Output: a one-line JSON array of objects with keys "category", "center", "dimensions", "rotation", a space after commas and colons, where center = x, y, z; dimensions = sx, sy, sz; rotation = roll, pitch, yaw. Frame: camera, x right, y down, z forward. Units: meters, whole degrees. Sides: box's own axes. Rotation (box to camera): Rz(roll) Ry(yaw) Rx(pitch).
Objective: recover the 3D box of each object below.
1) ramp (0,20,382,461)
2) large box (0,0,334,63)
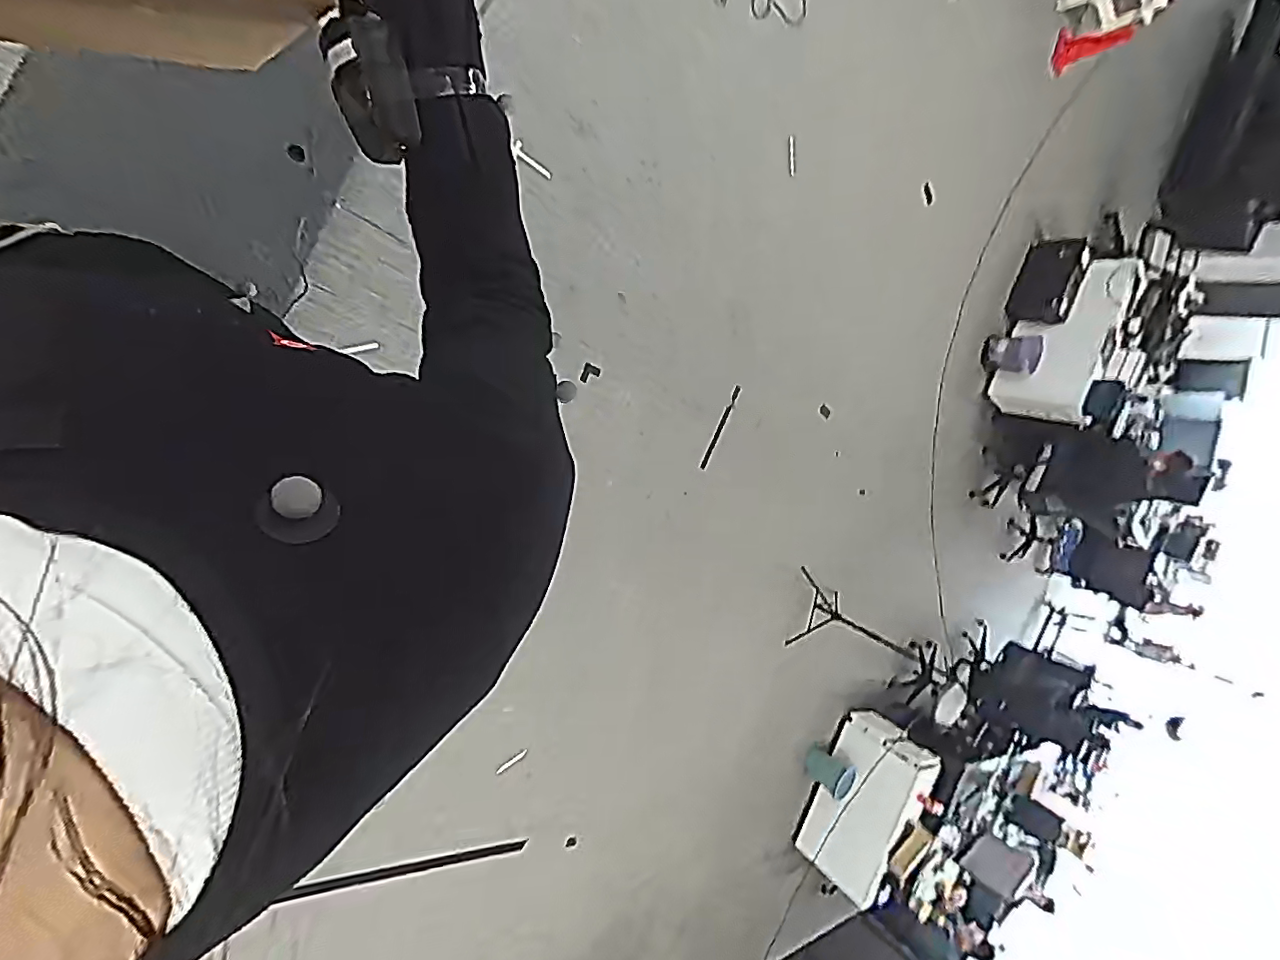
[{"category": "ramp", "center": [-0.945, -0.582, 1.098], "dimensions": [0.509, 0.206, 0.991], "rotation": [23, 90, -40]}, {"category": "large box", "center": [-0.412, -0.399, 0.219], "dimensions": [0.408, 0.320, 0.320], "rotation": [-21, 128, -34]}]
